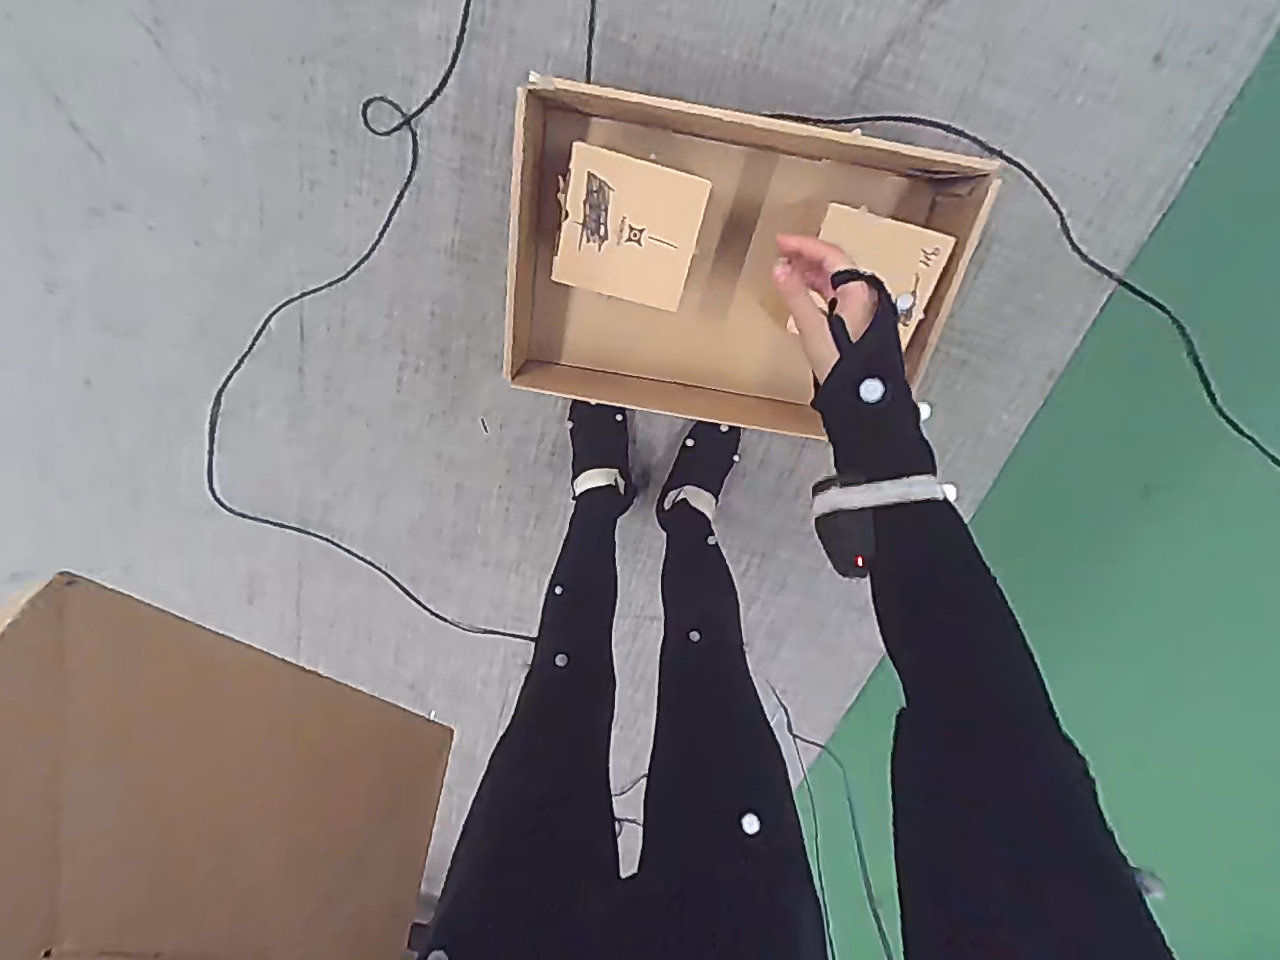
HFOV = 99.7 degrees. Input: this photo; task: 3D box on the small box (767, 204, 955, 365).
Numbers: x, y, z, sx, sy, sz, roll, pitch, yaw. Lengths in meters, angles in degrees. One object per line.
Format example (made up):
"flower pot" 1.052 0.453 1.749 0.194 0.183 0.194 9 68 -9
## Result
"small box" 0.302 -0.287 0.789 0.179 0.176 0.168 15 116 -5
